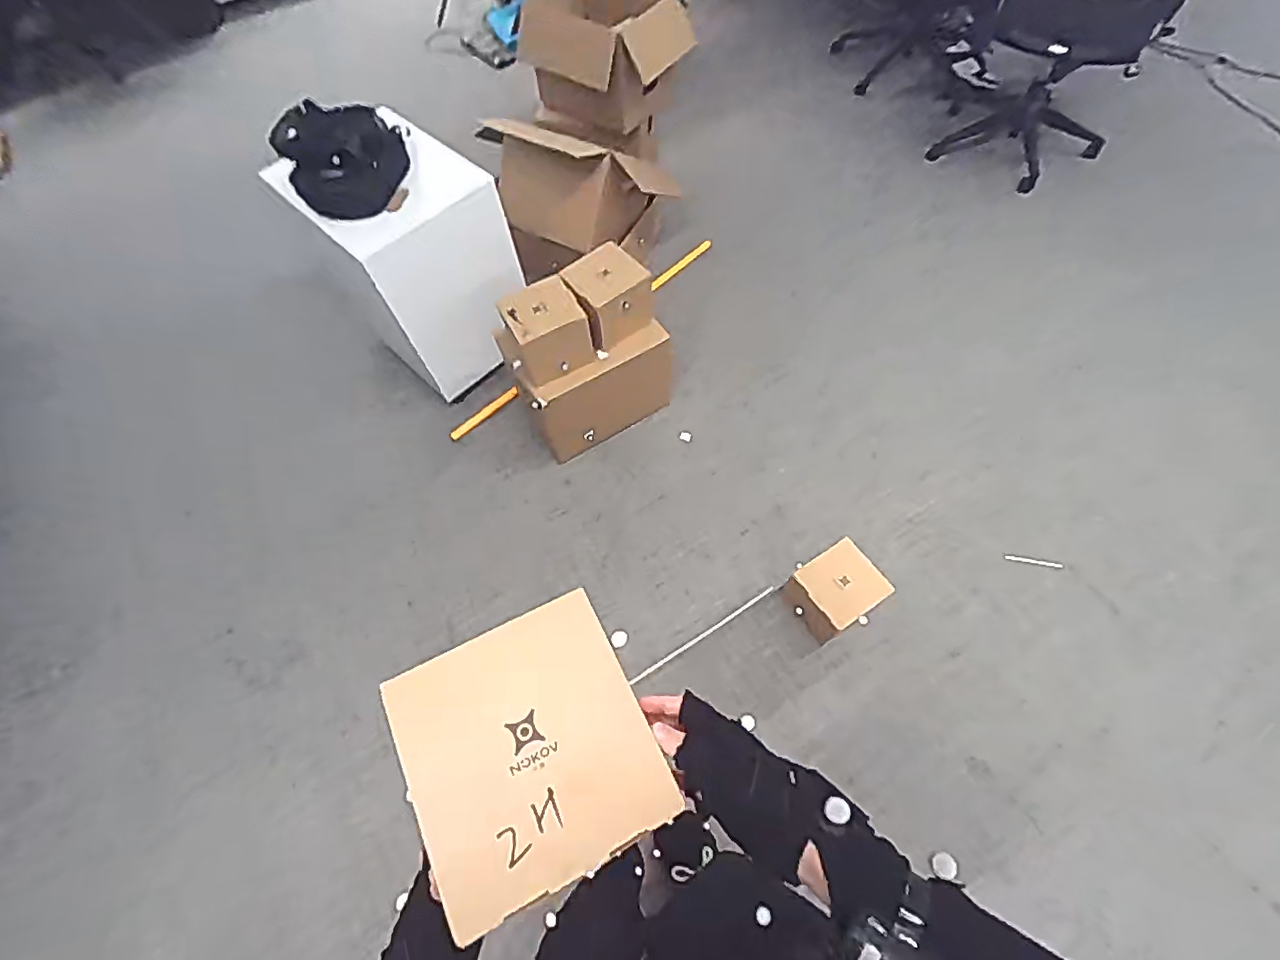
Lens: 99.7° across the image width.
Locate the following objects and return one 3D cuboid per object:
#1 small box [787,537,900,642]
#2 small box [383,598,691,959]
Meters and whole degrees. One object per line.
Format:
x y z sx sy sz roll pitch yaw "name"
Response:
0.488 0.272 1.326 0.179 0.176 0.168 -32 66 -11 "small box"
-0.078 0.226 0.443 0.168 0.176 0.179 -24 68 -13 "small box"
